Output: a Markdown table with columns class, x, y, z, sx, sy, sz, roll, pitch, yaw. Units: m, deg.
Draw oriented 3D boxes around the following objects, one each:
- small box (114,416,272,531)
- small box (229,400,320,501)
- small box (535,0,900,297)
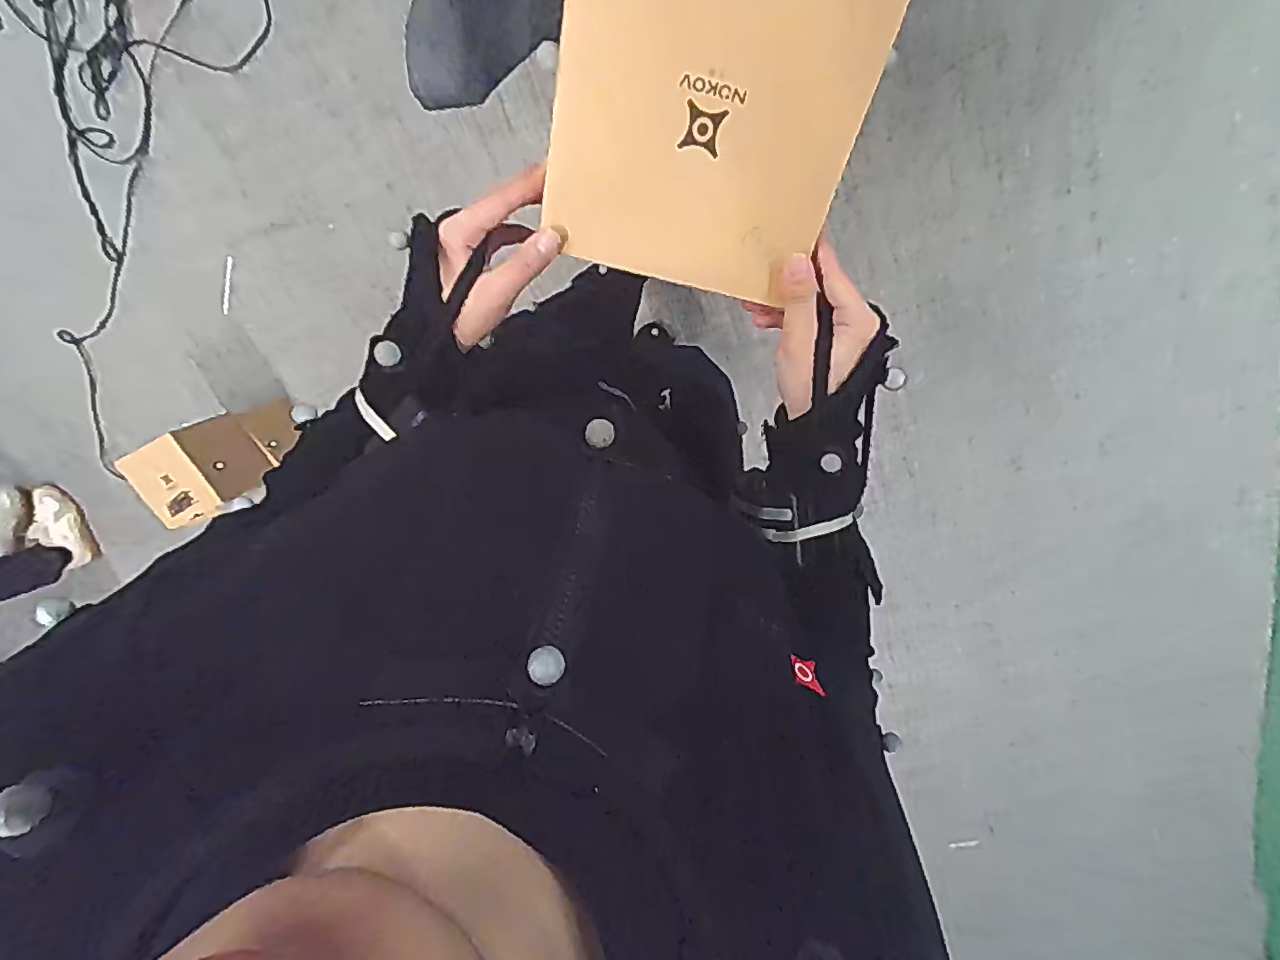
| class | x | y | z | sx | sy | sz | roll | pitch | yaw |
| --- | --- | --- | --- | --- | --- | --- | --- | --- | --- |
| small box | -0.981 | -0.020 | 1.206 | 0.168 | 0.176 | 0.179 | -22 | 109 | 13 |
| small box | -0.960 | -0.078 | 1.360 | 0.179 | 0.176 | 0.168 | -27 | 108 | 15 |
| small box | 0.038 | -0.246 | 0.353 | 0.168 | 0.176 | 0.179 | 12 | 123 | -5 |
